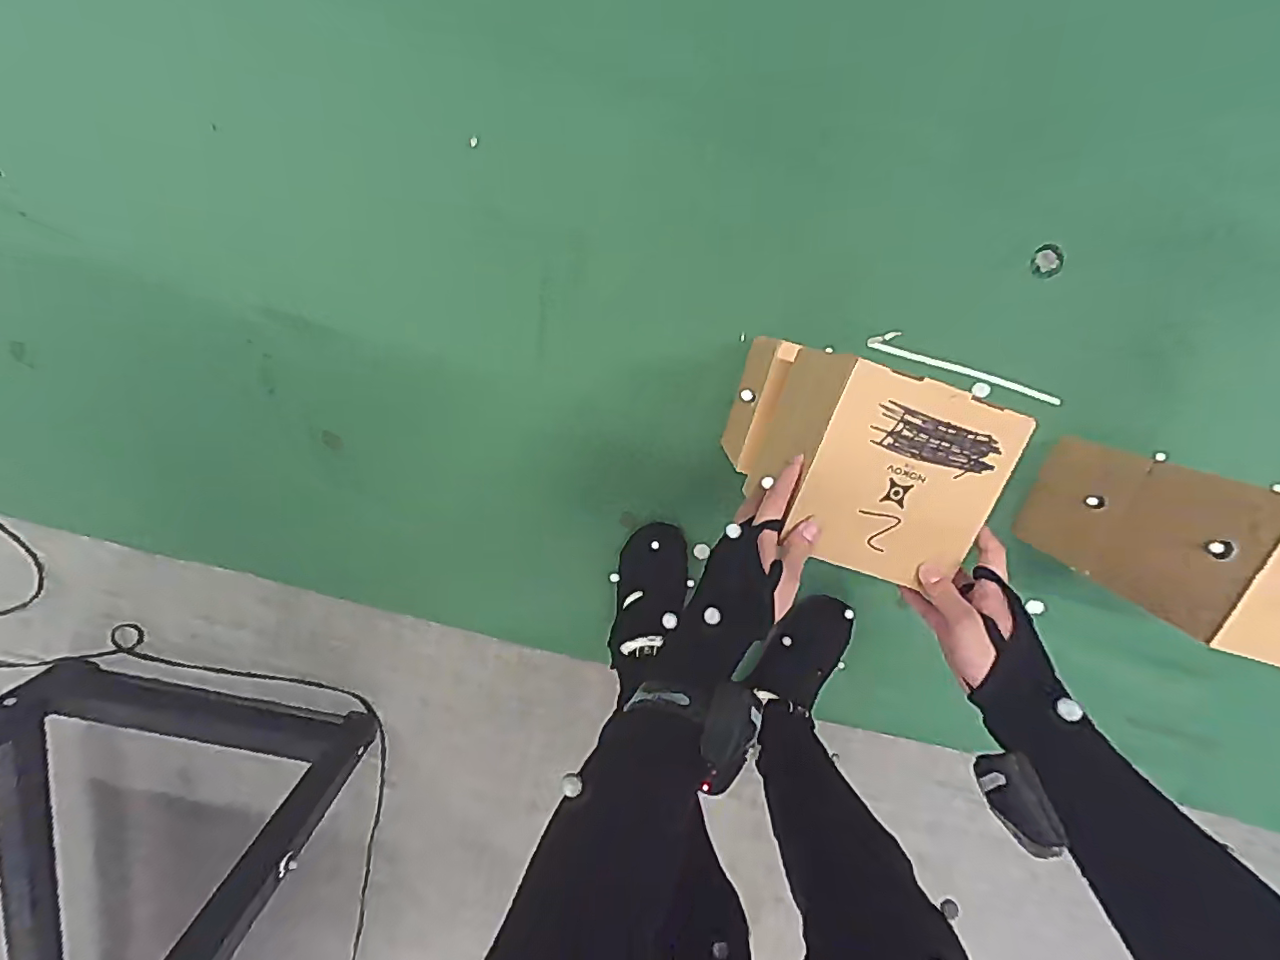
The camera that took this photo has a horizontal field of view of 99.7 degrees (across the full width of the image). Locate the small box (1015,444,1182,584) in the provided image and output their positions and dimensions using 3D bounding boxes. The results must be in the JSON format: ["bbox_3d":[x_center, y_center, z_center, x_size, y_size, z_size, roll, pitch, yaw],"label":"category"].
[{"bbox_3d":[0.710,0.060,0.800,0.168,0.176,0.179,17,105,-5],"label":"small box"}]

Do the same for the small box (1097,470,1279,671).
[{"bbox_3d":[0.711,0.104,0.643,0.168,0.176,0.179,17,105,-4],"label":"small box"}]

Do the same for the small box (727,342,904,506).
[{"bbox_3d":[0.231,-0.088,0.768,0.168,0.176,0.179,16,104,-3],"label":"small box"}]
